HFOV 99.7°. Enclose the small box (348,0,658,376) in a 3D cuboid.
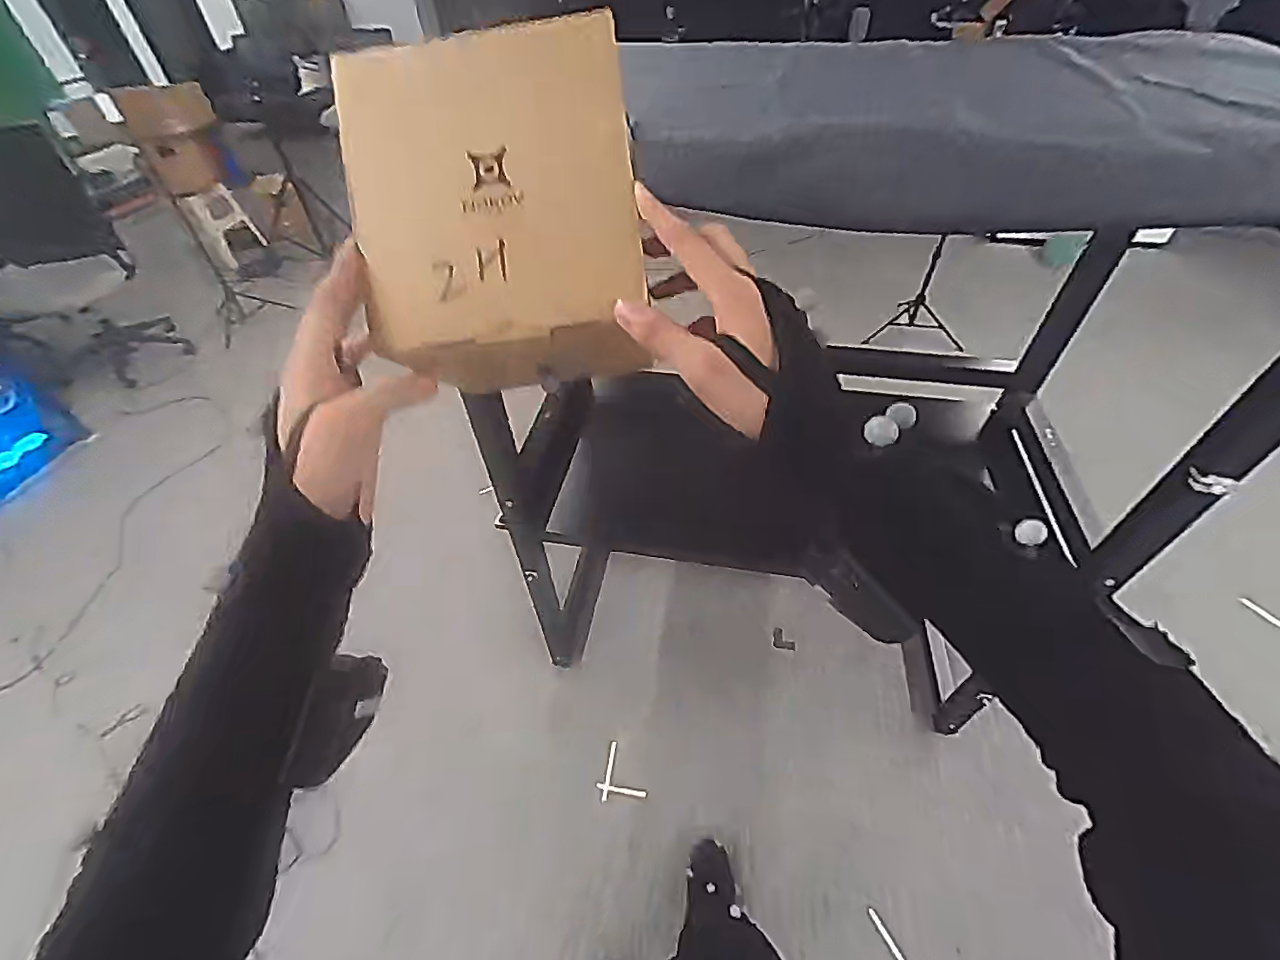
[{"bbox_3d":[-0.078,-0.184,0.392,0.168,0.176,0.179,-7,91,2],"label":"small box"}]
